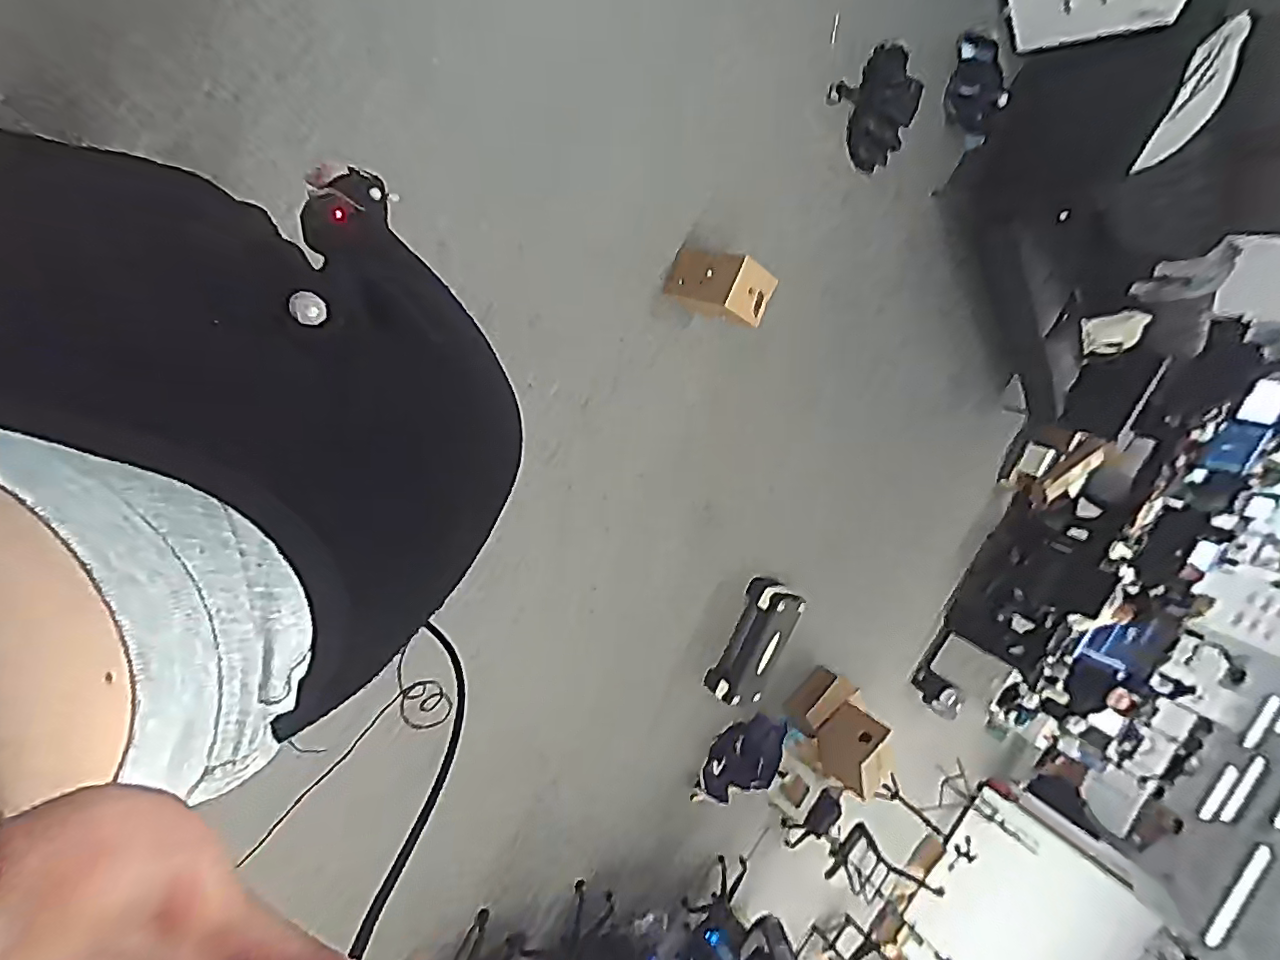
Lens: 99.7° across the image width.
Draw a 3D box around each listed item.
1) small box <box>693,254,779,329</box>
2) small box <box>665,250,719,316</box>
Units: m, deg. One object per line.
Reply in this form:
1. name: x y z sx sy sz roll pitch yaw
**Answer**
1. small box: 0.305 -0.607 1.733 0.179 0.176 0.168 17 101 -41
2. small box: 0.216 -0.674 1.854 0.179 0.176 0.168 15 103 -43
